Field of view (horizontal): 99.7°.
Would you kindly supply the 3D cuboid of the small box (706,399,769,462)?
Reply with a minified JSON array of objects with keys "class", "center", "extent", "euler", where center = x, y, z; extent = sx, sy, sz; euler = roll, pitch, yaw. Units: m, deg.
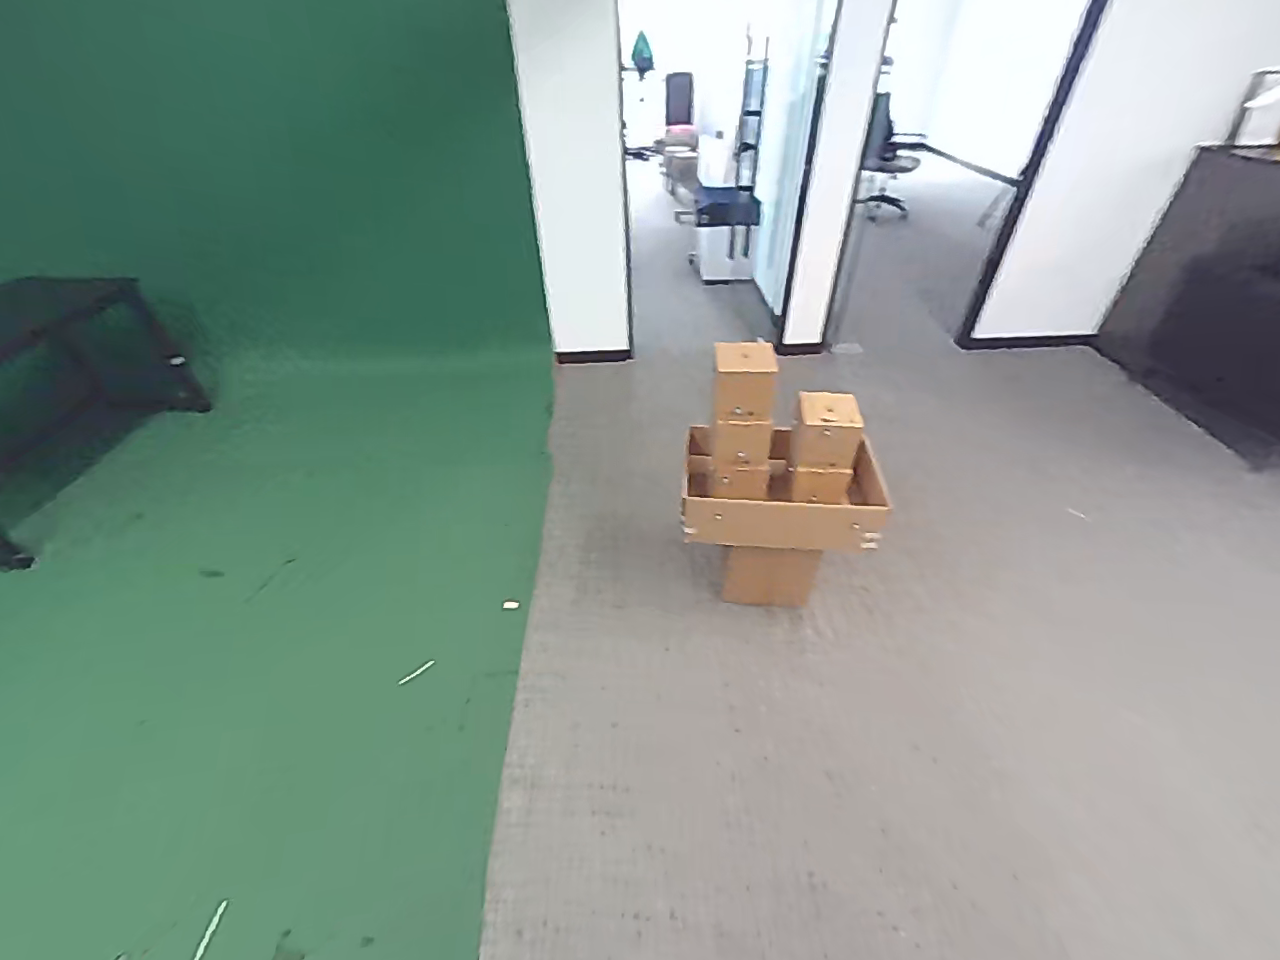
[{"class":"small box","center":[0.295,-0.176,1.676],"extent":[0.168,0.176,0.179],"euler":[1,42,1]}]

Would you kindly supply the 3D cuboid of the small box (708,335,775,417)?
[{"class":"small box","center":[0.289,-0.304,1.575],"extent":[0.168,0.176,0.179],"euler":[2,42,3]}]

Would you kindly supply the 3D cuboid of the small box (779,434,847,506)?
[{"class":"small box","center":[0.559,-0.039,1.773],"extent":[0.168,0.176,0.179],"euler":[3,43,3]}]

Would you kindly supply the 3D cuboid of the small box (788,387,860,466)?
[{"class":"small box","center":[0.558,-0.167,1.669],"extent":[0.168,0.176,0.179],"euler":[4,43,5]}]
